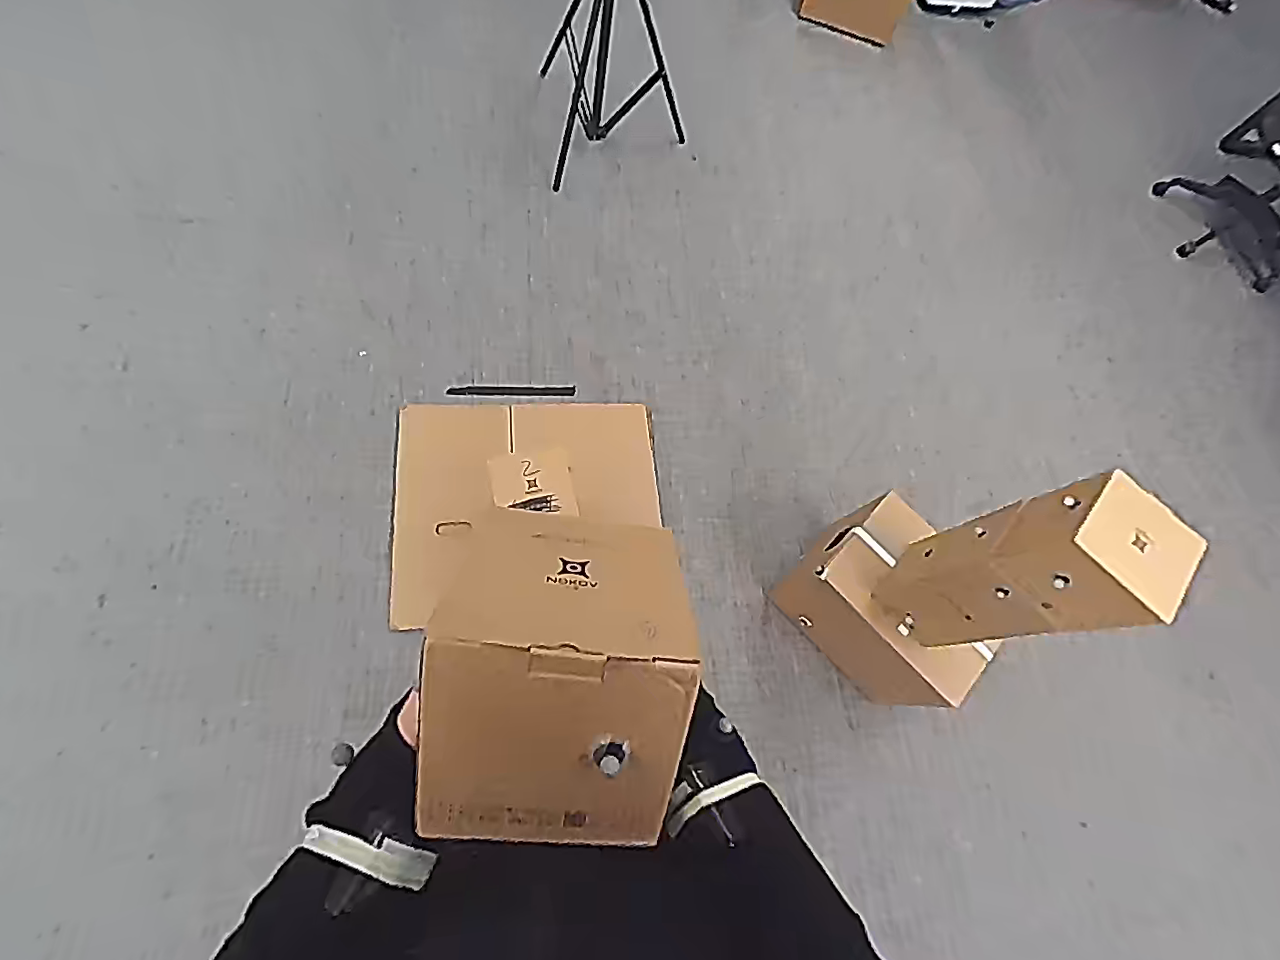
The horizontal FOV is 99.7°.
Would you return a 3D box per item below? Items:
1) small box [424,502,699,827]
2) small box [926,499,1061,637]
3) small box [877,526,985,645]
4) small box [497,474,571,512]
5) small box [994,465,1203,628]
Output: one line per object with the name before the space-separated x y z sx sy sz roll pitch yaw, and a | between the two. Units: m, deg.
small box | -0.063 0.136 0.424 0.168 0.179 0.176 8 110 -9
small box | 0.680 0.169 1.010 0.168 0.176 0.179 45 67 8
small box | 0.648 0.230 1.159 0.168 0.176 0.179 45 68 8
small box | -0.260 0.106 1.357 0.168 0.176 0.179 -11 72 -12
small box | 0.710 0.114 0.859 0.168 0.176 0.179 45 67 8
